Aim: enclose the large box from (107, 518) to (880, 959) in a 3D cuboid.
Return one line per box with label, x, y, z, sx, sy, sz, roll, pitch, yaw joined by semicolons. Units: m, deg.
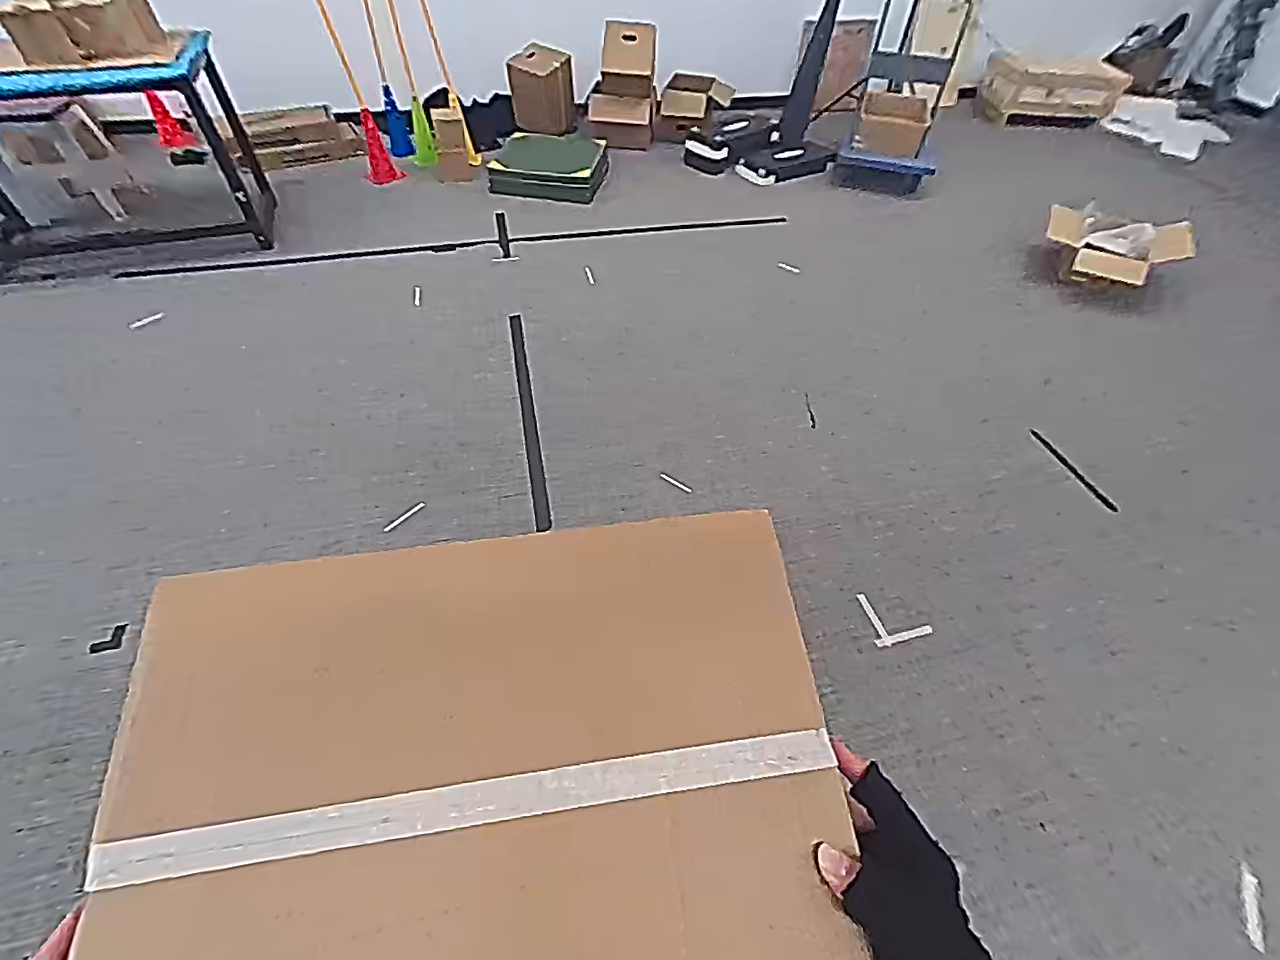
large box;-0.088;0.252;0.448;0.408;0.320;0.320;-6;66;-5
